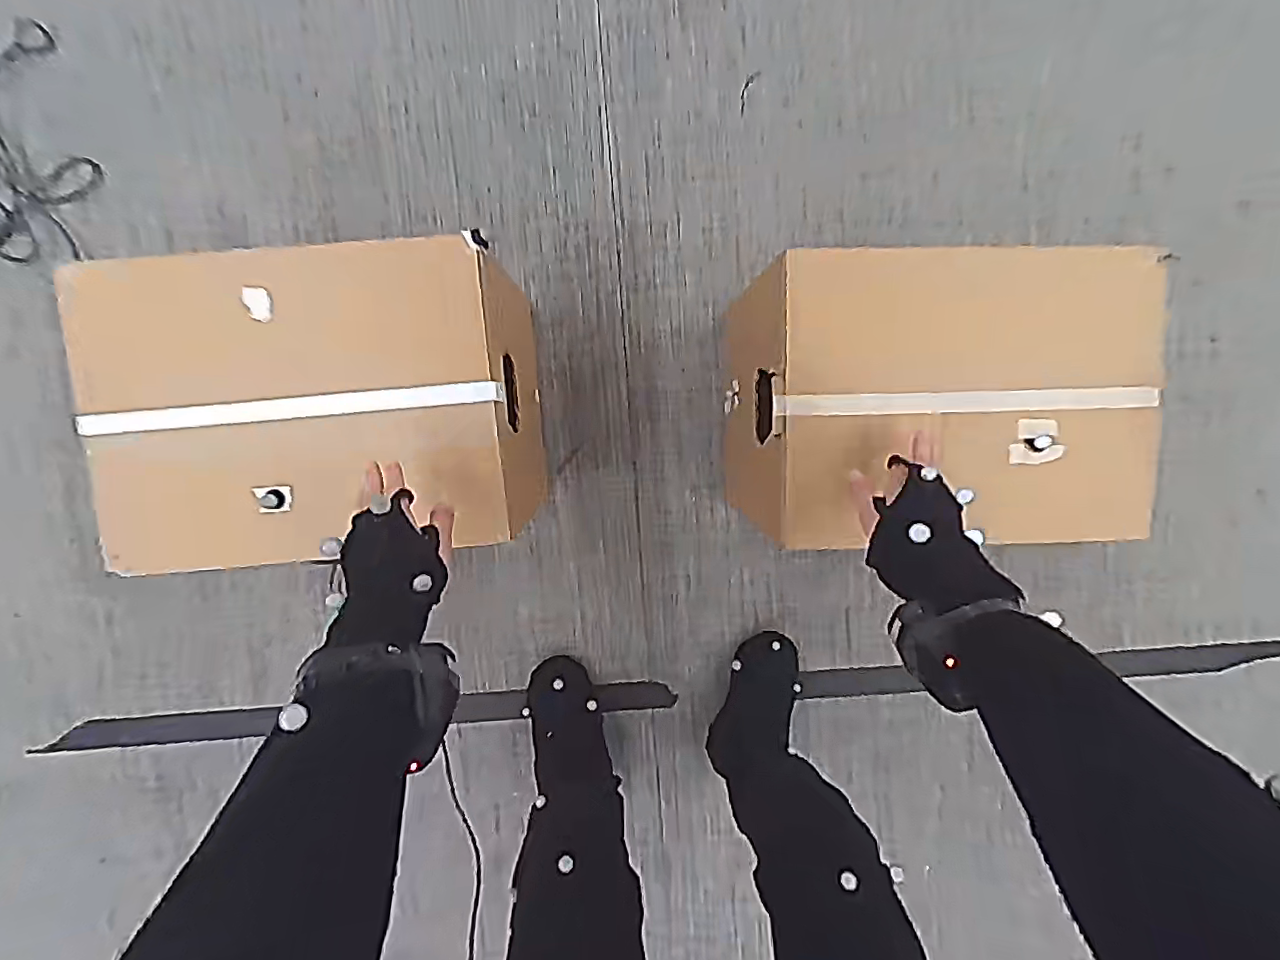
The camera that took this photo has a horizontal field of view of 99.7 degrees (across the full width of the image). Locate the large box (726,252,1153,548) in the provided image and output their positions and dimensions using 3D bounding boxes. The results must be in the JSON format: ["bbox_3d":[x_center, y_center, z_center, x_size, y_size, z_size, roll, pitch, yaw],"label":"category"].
[{"bbox_3d":[0.345,-0.098,0.730,0.408,0.320,0.320,-1,96,-3],"label":"large box"}]
